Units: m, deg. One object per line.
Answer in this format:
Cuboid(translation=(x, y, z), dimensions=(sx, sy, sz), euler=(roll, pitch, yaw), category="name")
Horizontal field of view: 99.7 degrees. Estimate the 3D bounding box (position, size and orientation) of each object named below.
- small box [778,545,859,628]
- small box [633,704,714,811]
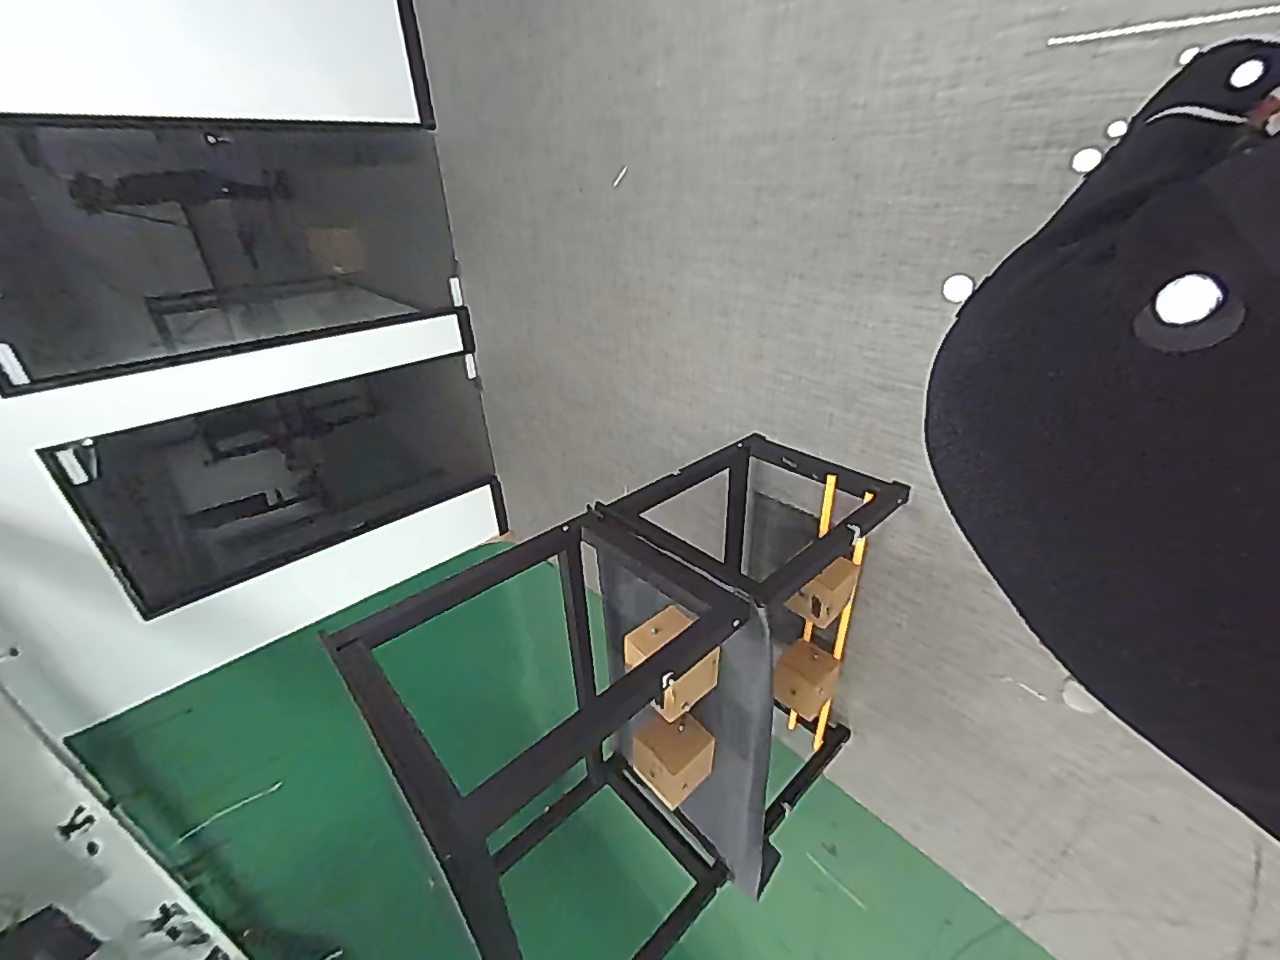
Cuboid(translation=(0.576, 0.335, 1.742), dimensions=(0.179, 0.176, 0.168), euler=(30, 132, 38), category="small box")
Cuboid(translation=(0.097, 0.789, 1.552), dimensions=(0.168, 0.176, 0.179), euler=(30, 132, 39), category="small box")
